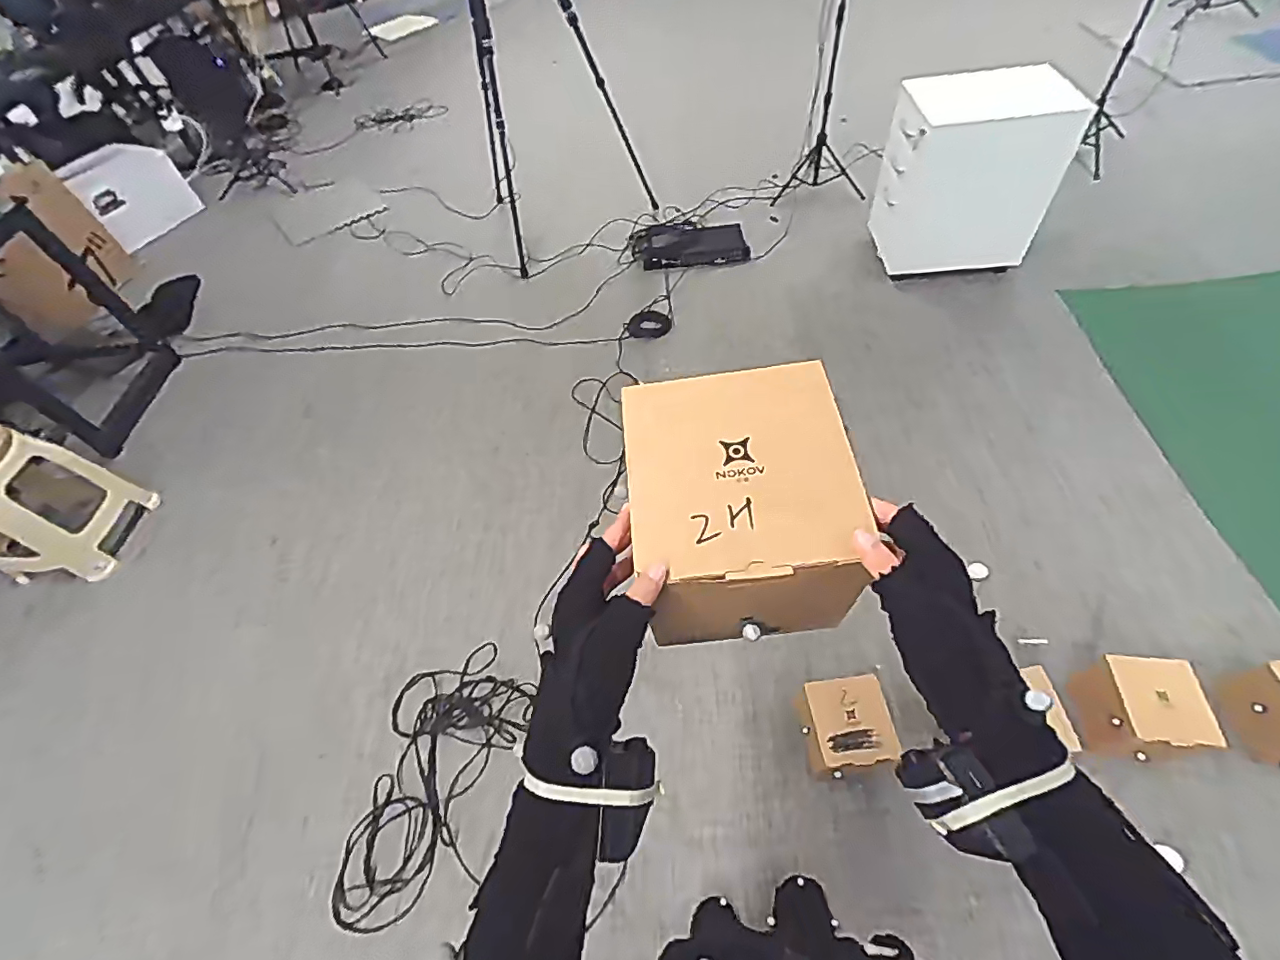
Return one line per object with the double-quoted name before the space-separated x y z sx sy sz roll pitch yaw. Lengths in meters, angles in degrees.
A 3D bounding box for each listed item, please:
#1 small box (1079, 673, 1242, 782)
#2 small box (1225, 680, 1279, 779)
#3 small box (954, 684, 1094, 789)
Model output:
"small box" 1.113 0.541 1.179 0.168 0.176 0.179 1 53 8
"small box" 1.430 0.535 1.140 0.168 0.176 0.179 -3 52 6
"small box" 0.830 0.569 1.195 0.168 0.176 0.179 -7 54 4
